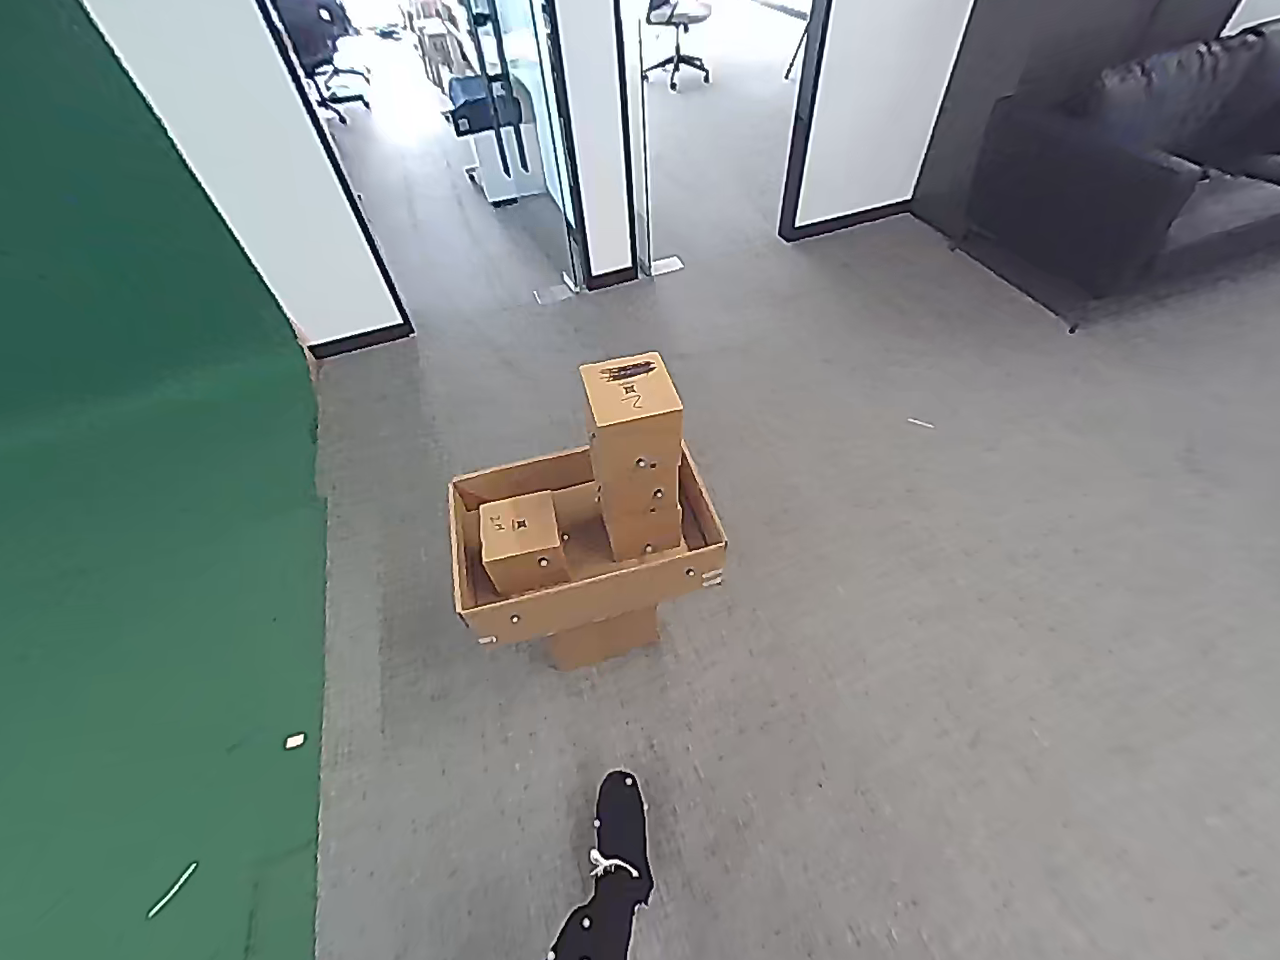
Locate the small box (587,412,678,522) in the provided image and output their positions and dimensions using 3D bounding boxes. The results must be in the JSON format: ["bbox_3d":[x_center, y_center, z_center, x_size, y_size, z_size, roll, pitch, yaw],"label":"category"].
[{"bbox_3d":[-0.015,-0.023,1.223,0.168,0.176,0.179,-13,51,-8],"label":"small box"}]
